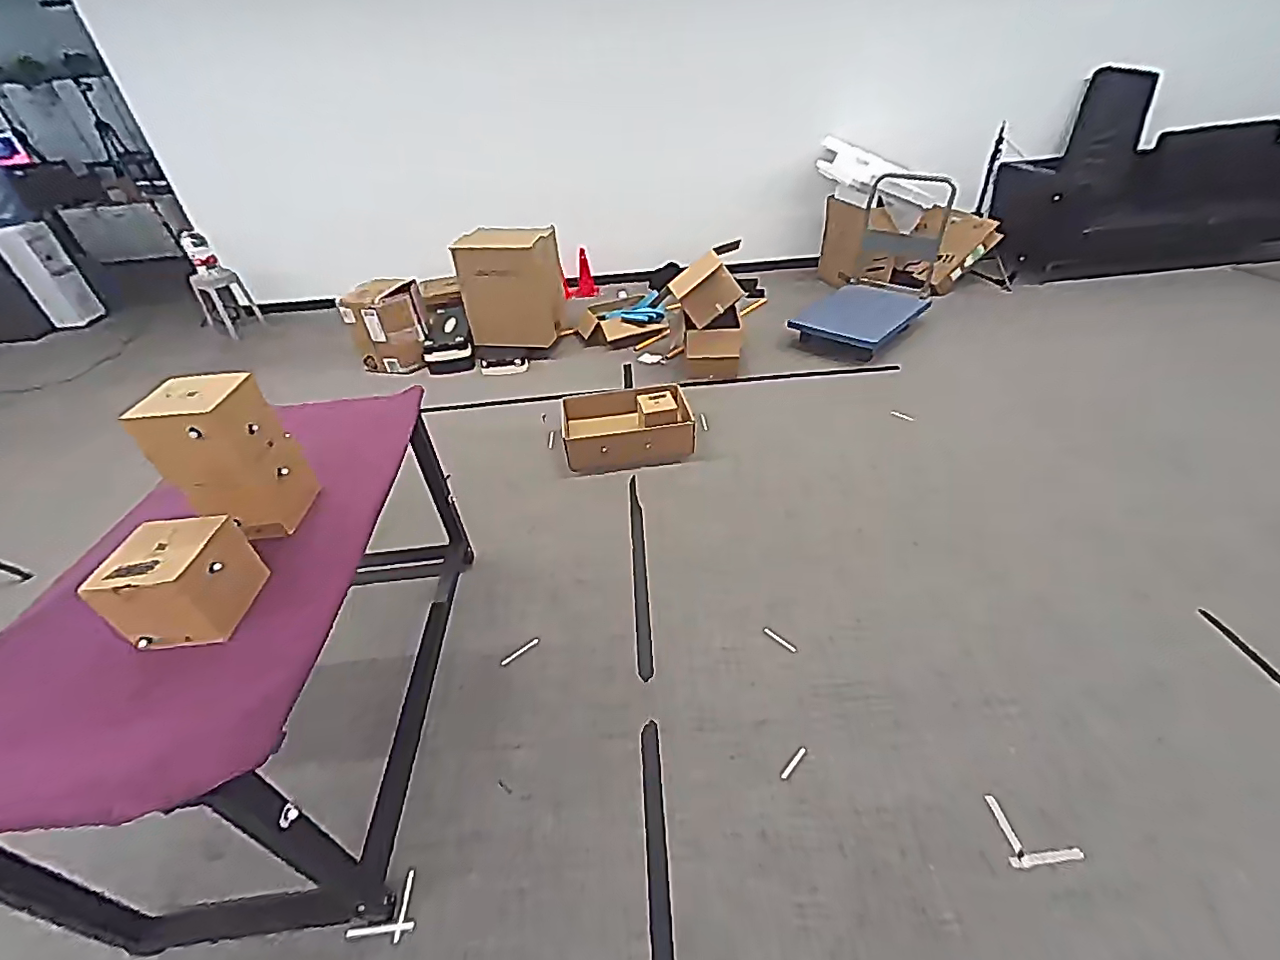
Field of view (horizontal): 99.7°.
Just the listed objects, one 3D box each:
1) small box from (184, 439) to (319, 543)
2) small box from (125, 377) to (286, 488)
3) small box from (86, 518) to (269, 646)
[{"bbox_3d":[-0.879,0.026,1.249,0.168,0.176,0.179,-5,38,0],"label":"small box"},{"bbox_3d":[-0.898,-0.099,1.143,0.179,0.176,0.168,-5,38,0],"label":"small box"},{"bbox_3d":[-0.852,0.197,1.022,0.168,0.176,0.179,-5,37,-1],"label":"small box"}]
